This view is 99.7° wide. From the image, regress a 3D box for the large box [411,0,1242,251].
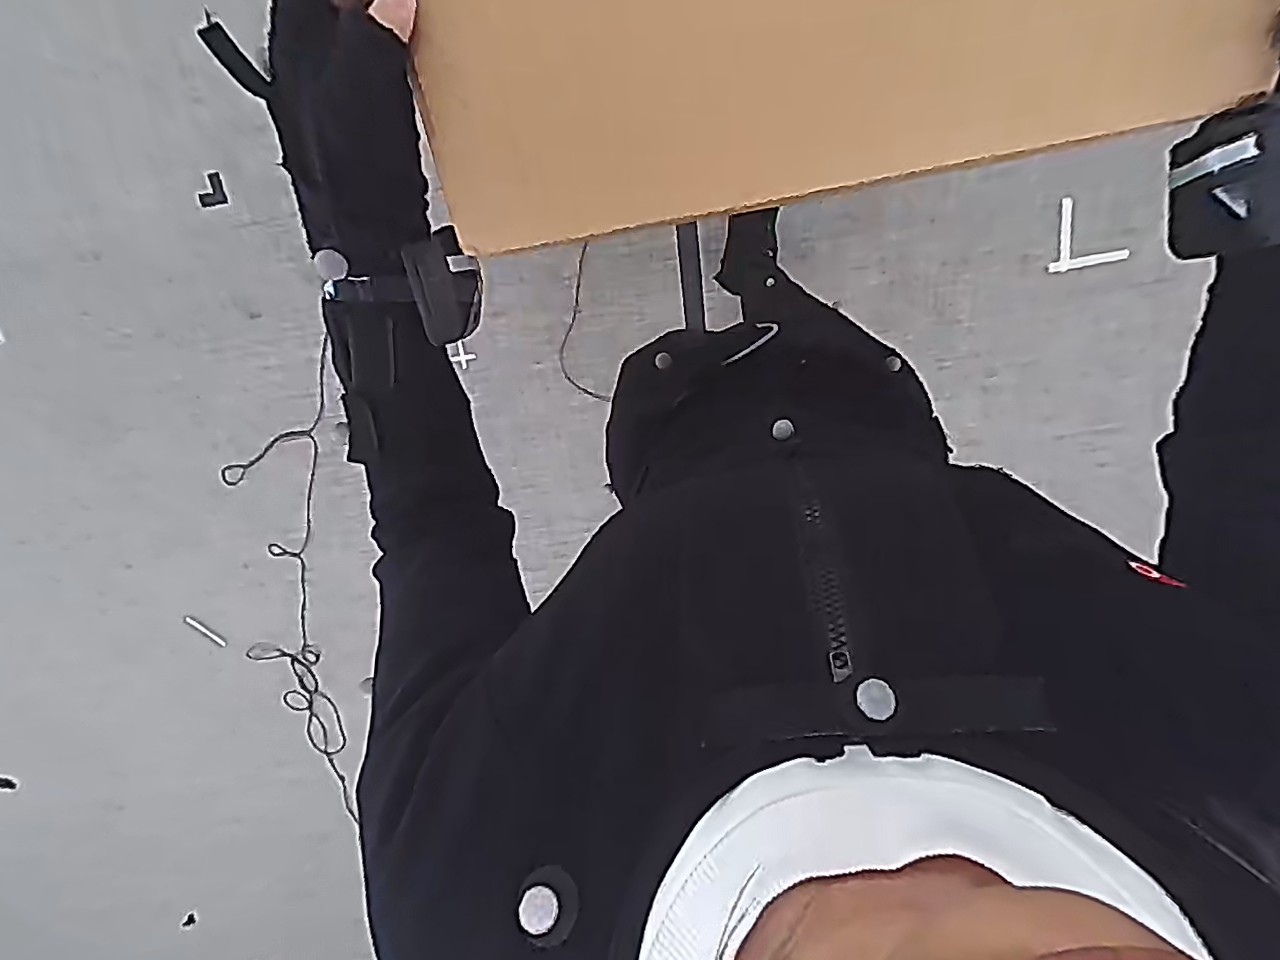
[{"bbox_3d":[0.077,-0.364,0.370,0.408,0.320,0.320,-9,115,6],"label":"large box"}]
